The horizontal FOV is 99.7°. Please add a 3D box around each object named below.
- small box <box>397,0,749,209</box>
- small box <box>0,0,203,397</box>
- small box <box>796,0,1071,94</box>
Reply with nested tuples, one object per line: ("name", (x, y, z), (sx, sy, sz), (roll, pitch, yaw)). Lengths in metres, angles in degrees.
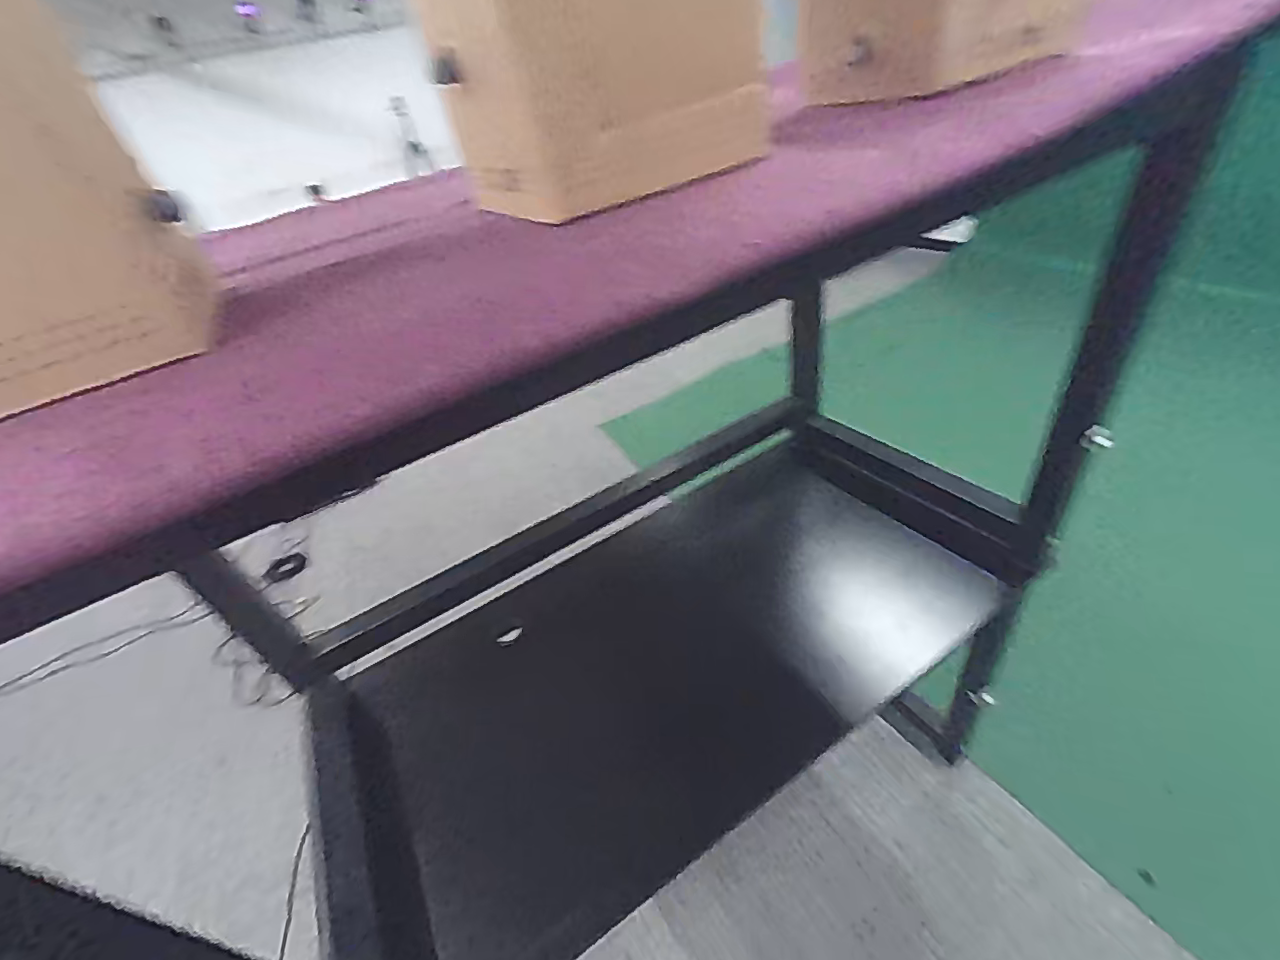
("small box", (-0.045, -0.293, 0.359), (0.179, 0.176, 0.168), (-28, 39, -19))
("small box", (-0.337, -0.124, 0.226), (0.179, 0.176, 0.168), (-28, 41, -19))
("small box", (0.255, -0.461, 0.473), (0.168, 0.176, 0.179), (-25, 37, -12))
